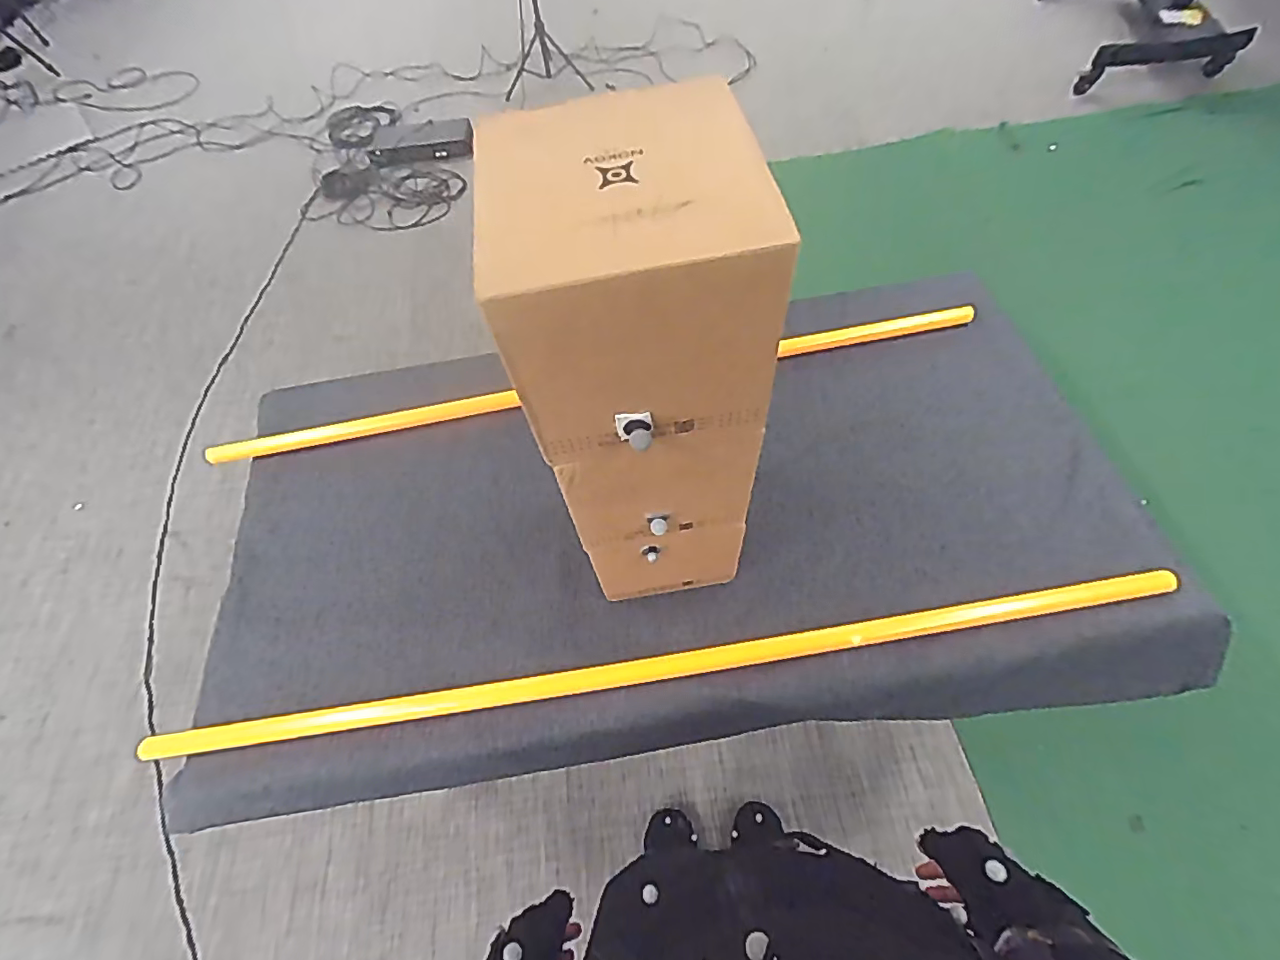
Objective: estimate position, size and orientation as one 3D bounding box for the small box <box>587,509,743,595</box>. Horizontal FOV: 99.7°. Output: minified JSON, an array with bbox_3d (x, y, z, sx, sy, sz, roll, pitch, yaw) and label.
[{"bbox_3d":[0.022,0.023,0.670,0.168,0.176,0.179,-10,59,0],"label":"small box"}]

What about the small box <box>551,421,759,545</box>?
[{"bbox_3d":[0.006,-0.057,0.528,0.168,0.176,0.179,-10,60,0],"label":"small box"}]

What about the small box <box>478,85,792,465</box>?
[{"bbox_3d":[-0.007,-0.136,0.387,0.168,0.176,0.179,-11,61,0],"label":"small box"}]
